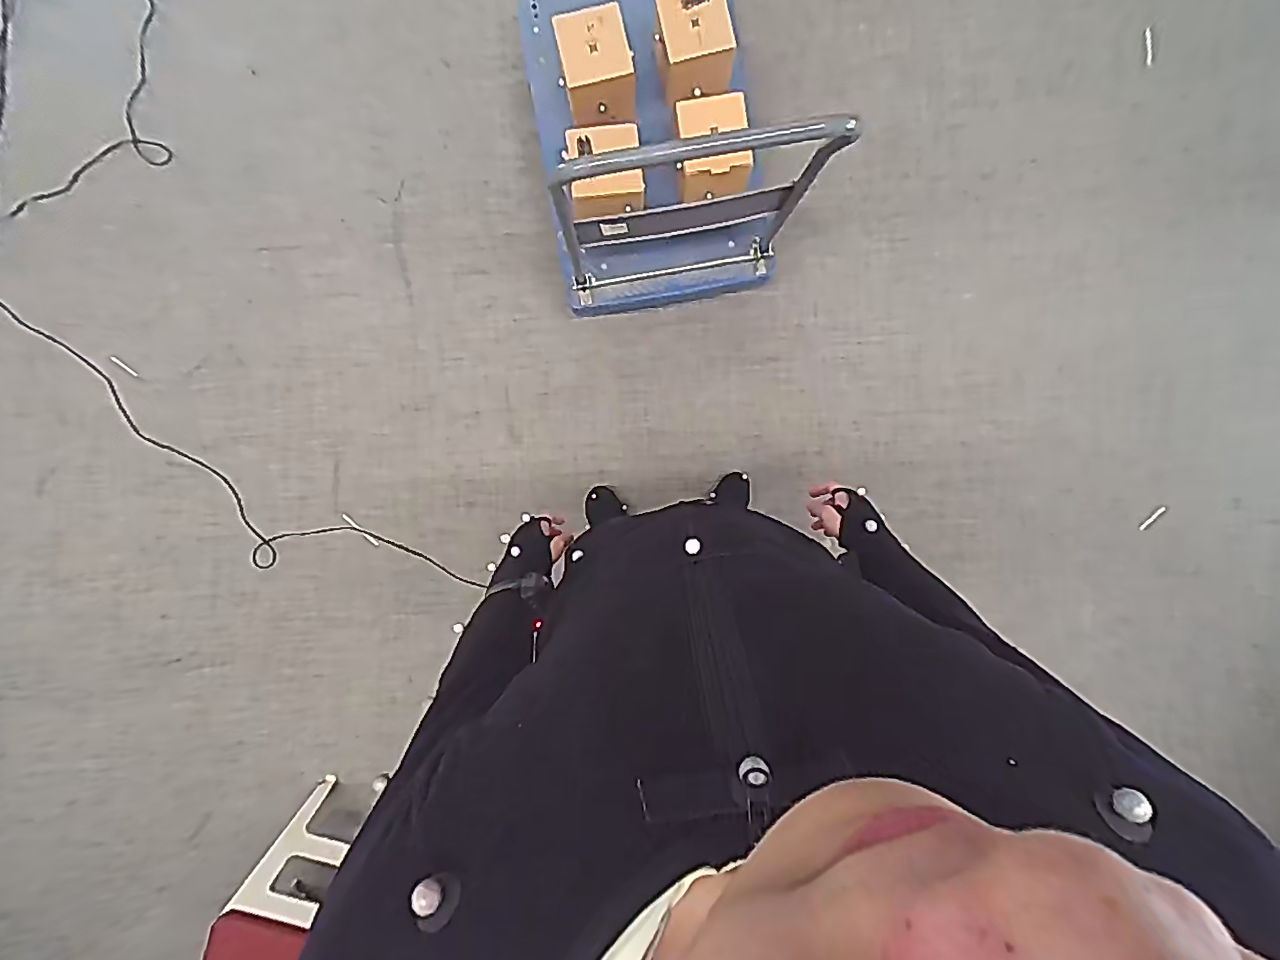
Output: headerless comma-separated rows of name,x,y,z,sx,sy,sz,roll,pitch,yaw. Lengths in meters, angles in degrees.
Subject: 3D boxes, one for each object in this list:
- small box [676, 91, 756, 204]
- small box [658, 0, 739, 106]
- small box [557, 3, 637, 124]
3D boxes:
small box,0.189,-0.843,1.385,0.168,0.176,0.179,-9,91,1
small box,0.142,-1.110,1.379,0.168,0.176,0.179,-13,92,2
small box,-0.102,-1.050,1.384,0.168,0.176,0.179,-13,91,0
